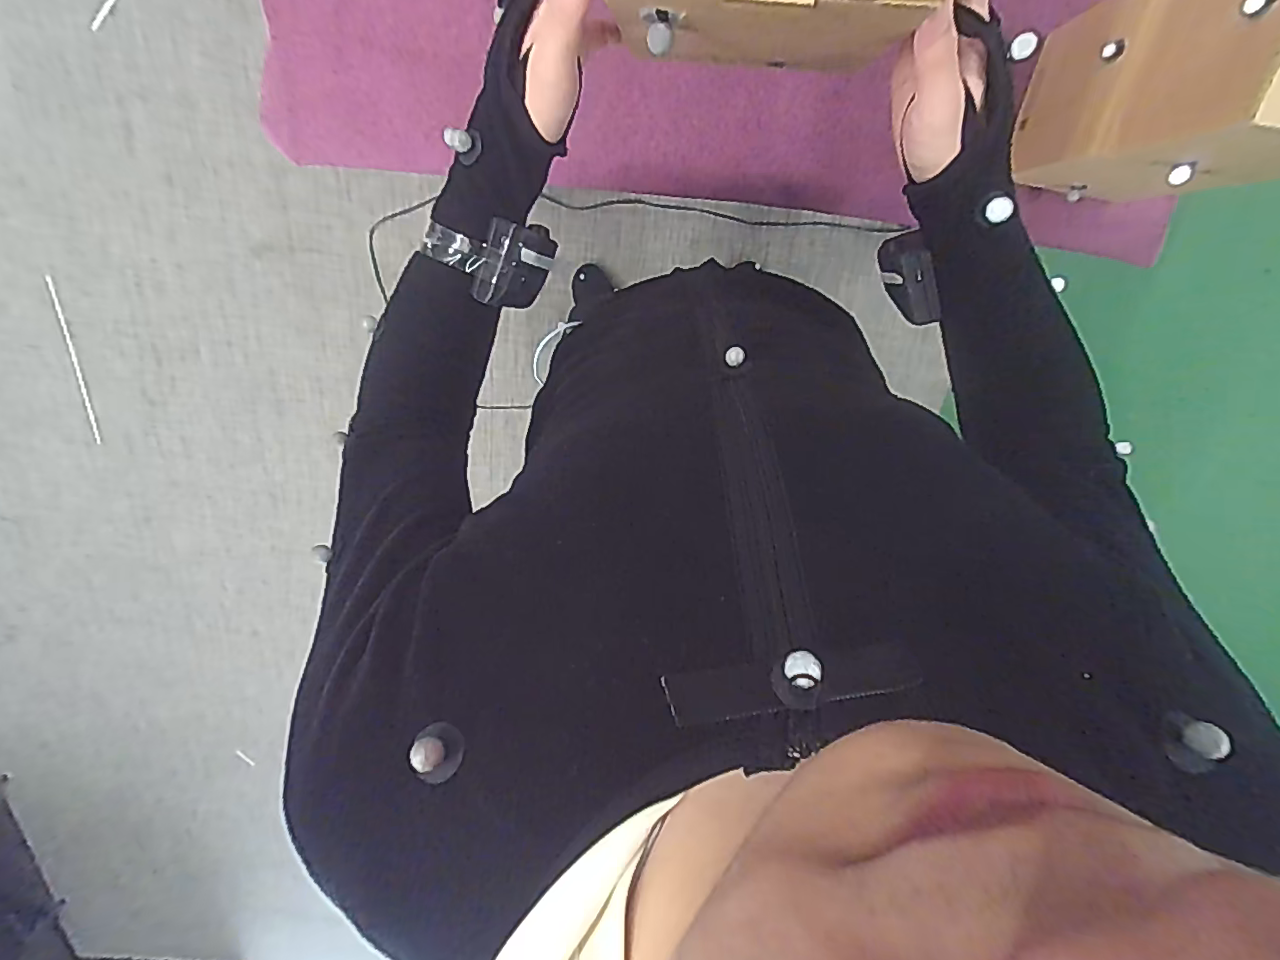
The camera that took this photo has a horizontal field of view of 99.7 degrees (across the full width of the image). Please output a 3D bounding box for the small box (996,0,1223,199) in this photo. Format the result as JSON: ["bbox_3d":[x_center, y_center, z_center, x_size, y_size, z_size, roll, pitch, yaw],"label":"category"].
[{"bbox_3d":[0.578,-0.441,0.638,0.179,0.176,0.168,9,111,-4],"label":"small box"}]
